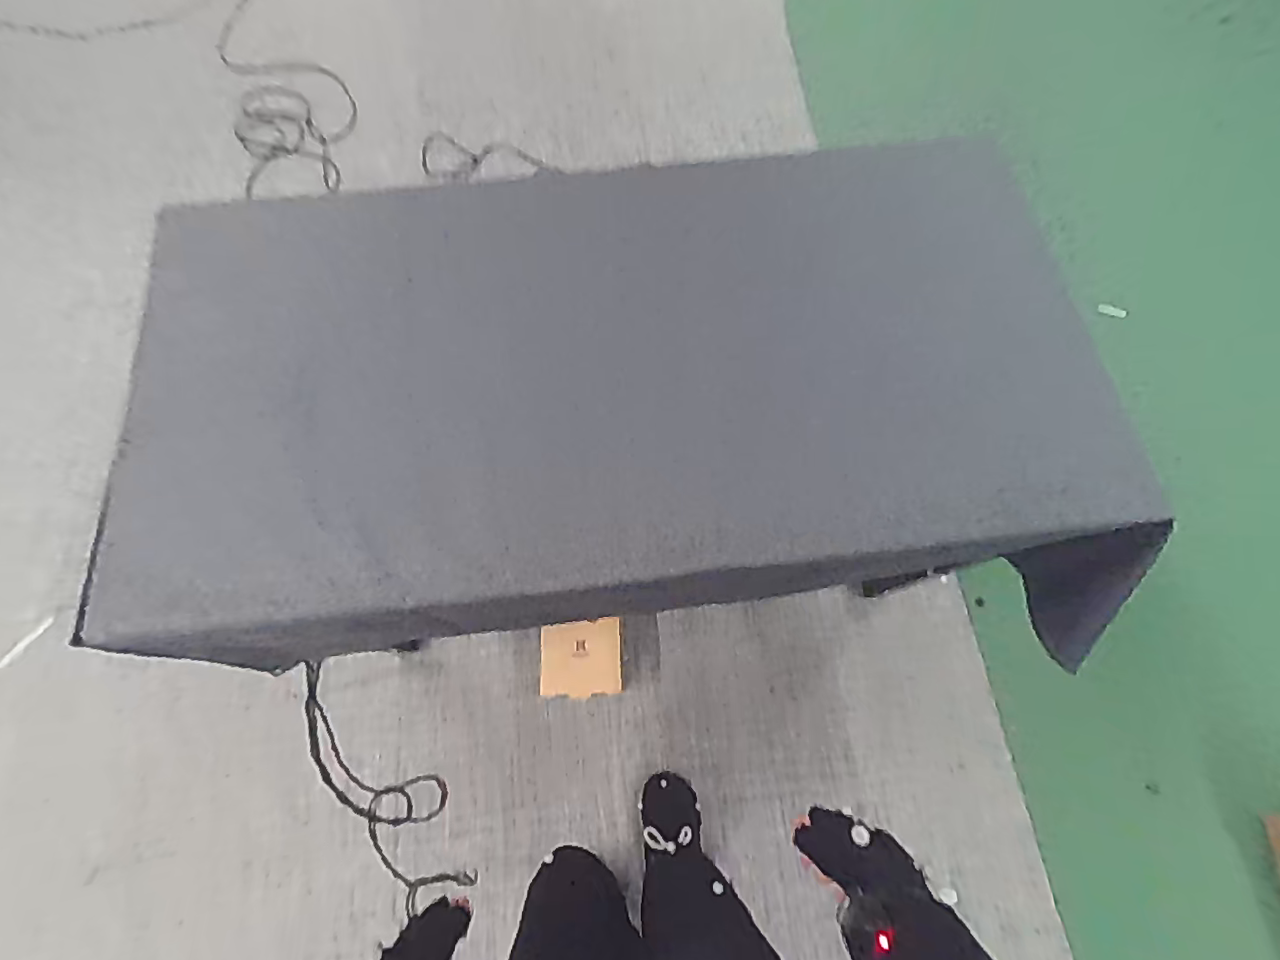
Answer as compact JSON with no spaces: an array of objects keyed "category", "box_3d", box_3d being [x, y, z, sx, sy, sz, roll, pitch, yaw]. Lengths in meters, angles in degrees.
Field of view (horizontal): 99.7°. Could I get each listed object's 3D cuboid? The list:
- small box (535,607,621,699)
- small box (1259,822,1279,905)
[{"category":"small box","box_3d":[-0.128,0.374,1.169,0.168,0.176,0.179,-2,70,0]},{"category":"small box","box_3d":[1.377,0.771,1.033,0.179,0.176,0.168,4,69,3]}]
